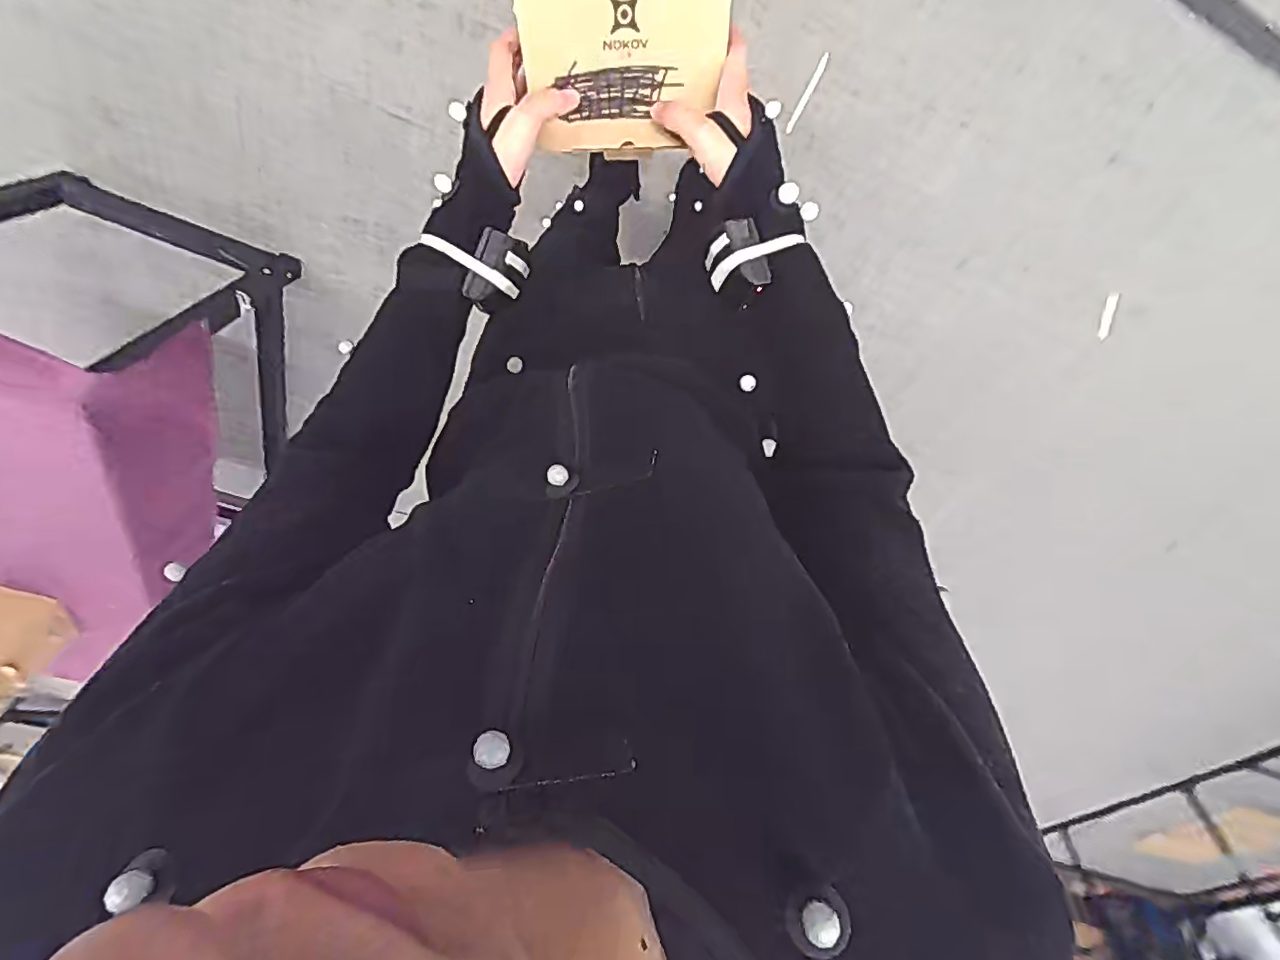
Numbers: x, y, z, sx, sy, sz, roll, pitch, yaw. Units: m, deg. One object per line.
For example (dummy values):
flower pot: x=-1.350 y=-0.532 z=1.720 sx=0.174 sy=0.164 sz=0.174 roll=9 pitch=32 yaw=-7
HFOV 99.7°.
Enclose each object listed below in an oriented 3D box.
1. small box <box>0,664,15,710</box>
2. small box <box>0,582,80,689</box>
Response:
small box: x=-1.536 y=0.474 z=1.170 sx=0.179 sy=0.176 sz=0.168 roll=17 pitch=130 yaw=-9
small box: x=-1.524 y=0.367 z=1.294 sx=0.179 sy=0.176 sz=0.168 roll=19 pitch=130 yaw=-12
